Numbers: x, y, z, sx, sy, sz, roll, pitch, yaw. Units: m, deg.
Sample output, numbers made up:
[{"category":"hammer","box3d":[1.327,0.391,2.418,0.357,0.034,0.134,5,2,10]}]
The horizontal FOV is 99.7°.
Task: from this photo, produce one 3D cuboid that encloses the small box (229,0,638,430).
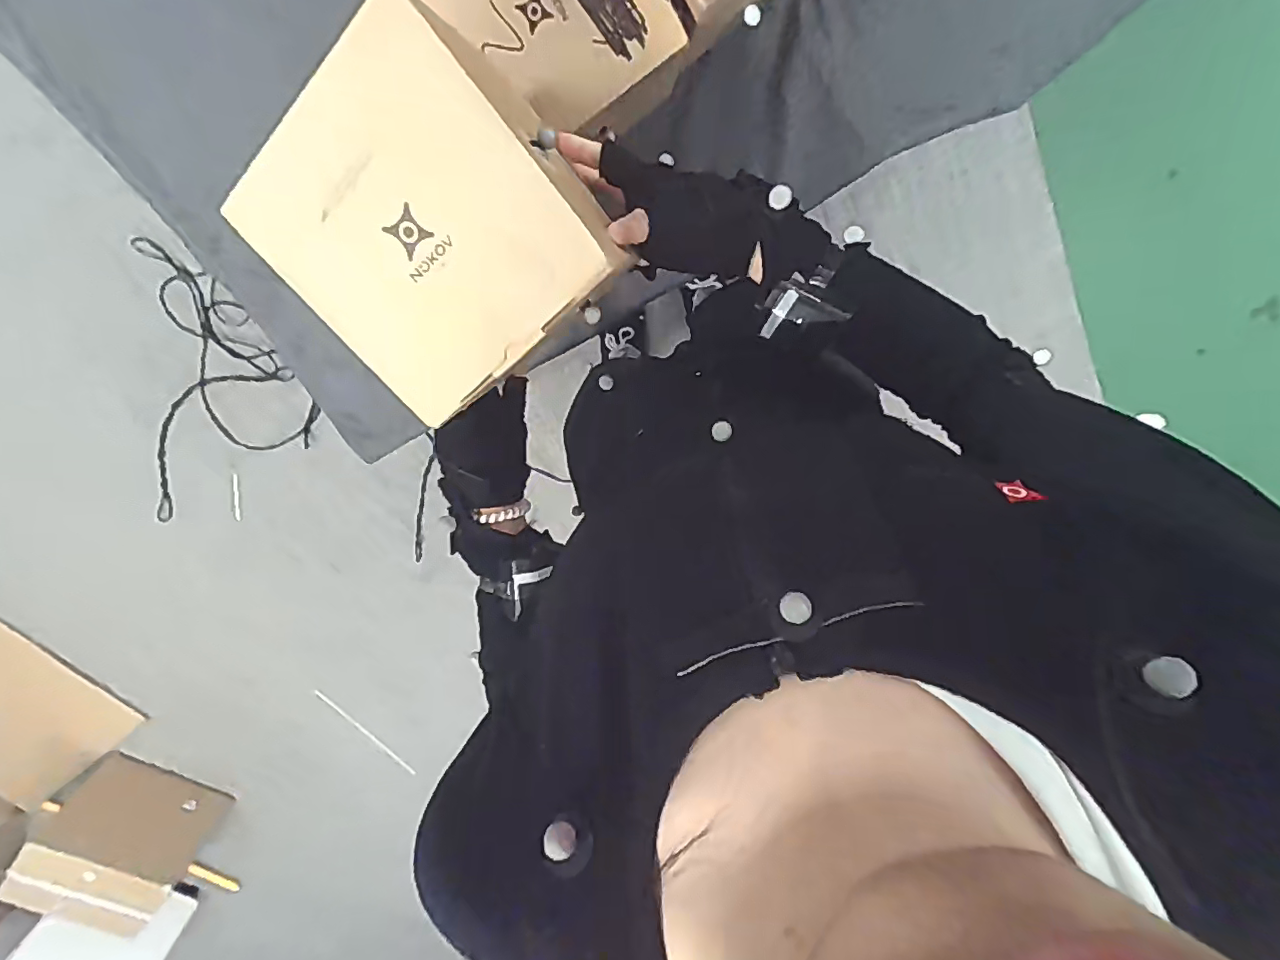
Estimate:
[{"category":"small box","box3d":[-0.116,-0.171,0.383,0.168,0.176,0.179,-35,107,18]}]
